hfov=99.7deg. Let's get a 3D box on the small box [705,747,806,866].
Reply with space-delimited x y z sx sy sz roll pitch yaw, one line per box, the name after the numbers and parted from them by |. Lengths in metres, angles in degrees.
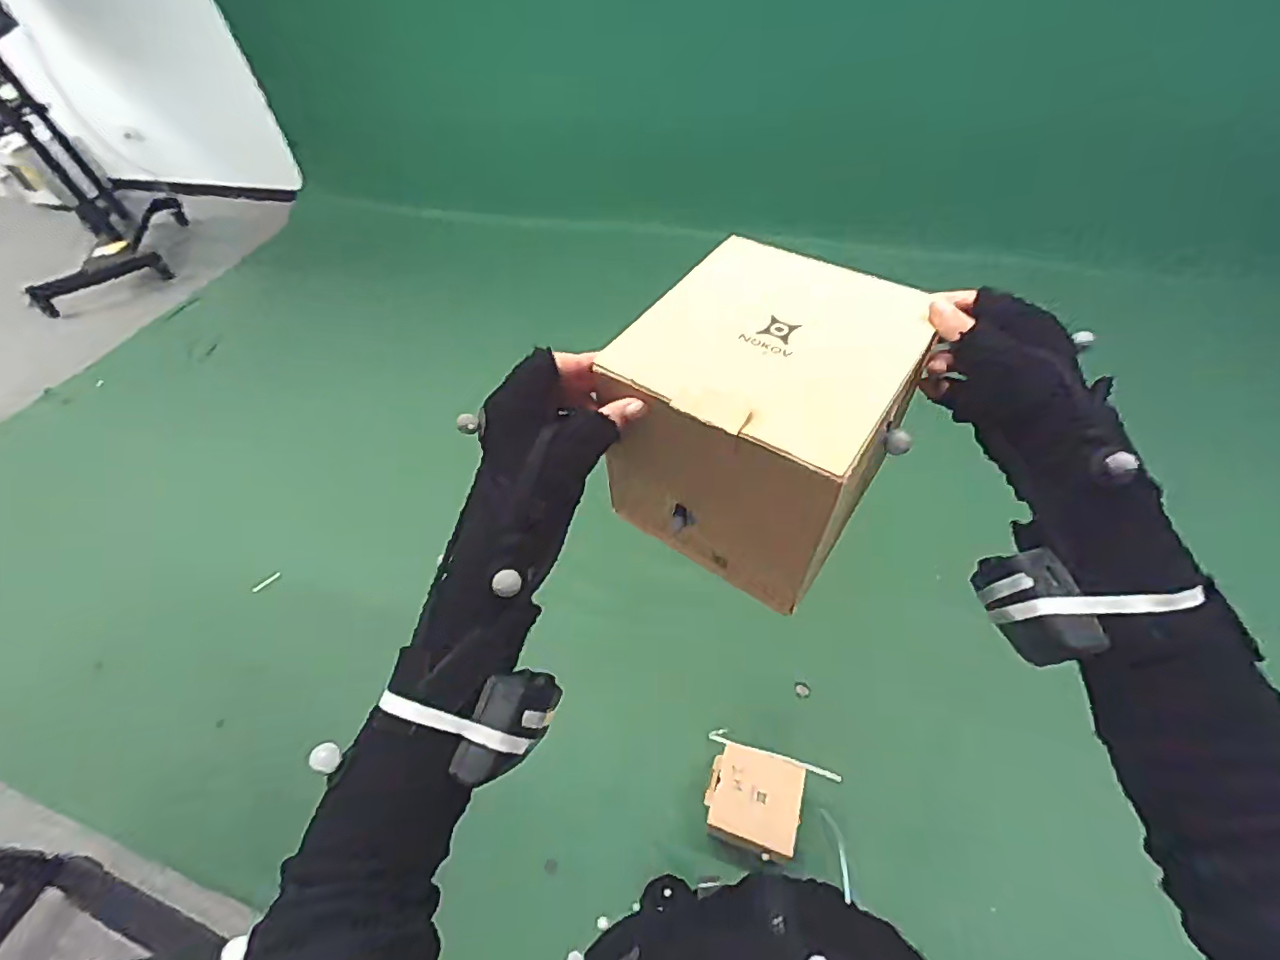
0.247 0.714 1.177 0.179 0.176 0.168 14 53 16 | small box
